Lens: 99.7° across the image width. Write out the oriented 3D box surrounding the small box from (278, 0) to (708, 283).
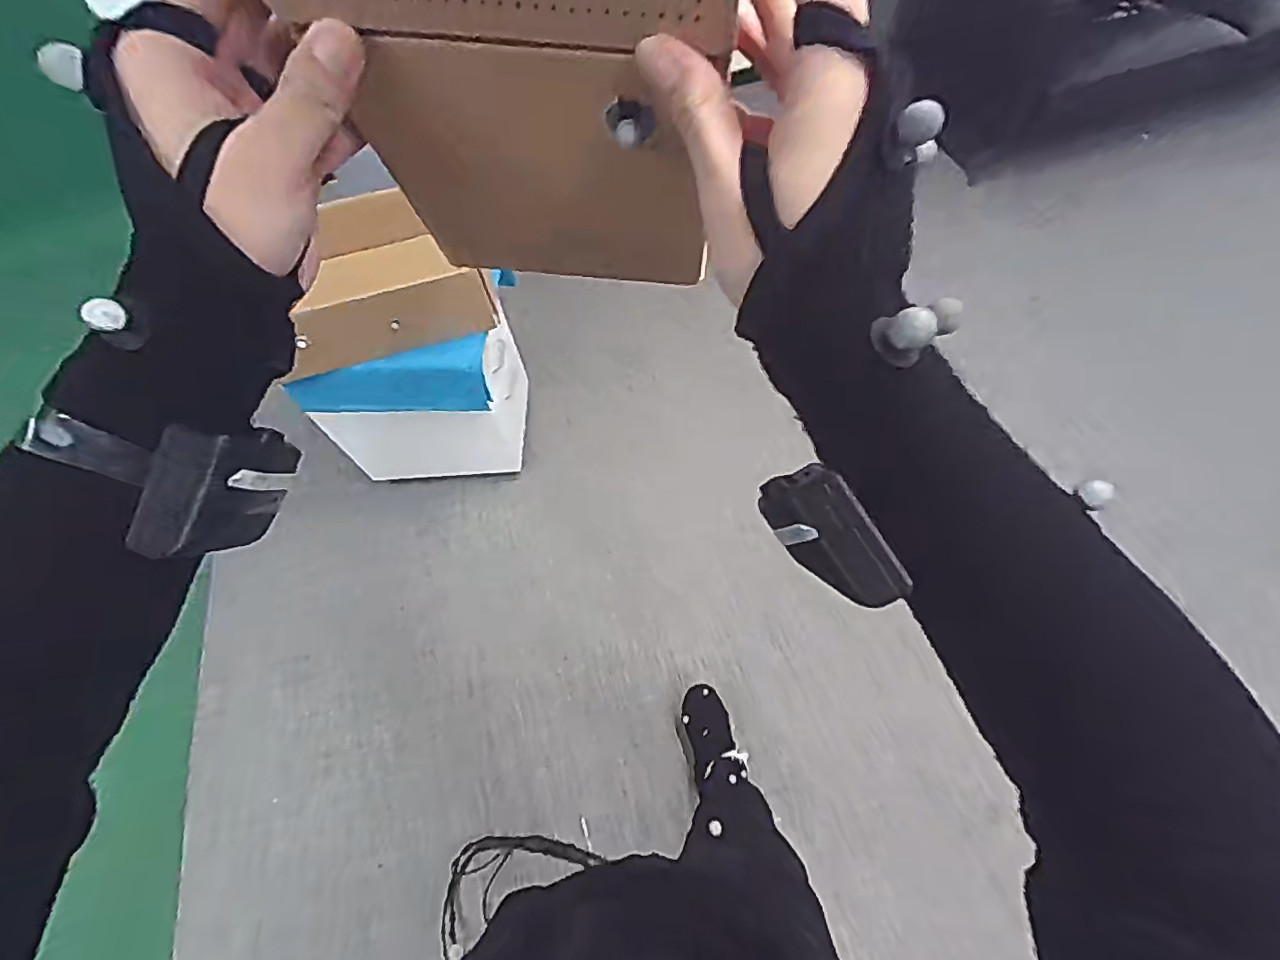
[{"bbox_3d":[-0.053,-0.232,0.309,0.179,0.176,0.168,4,80,2],"label":"small box"}]
